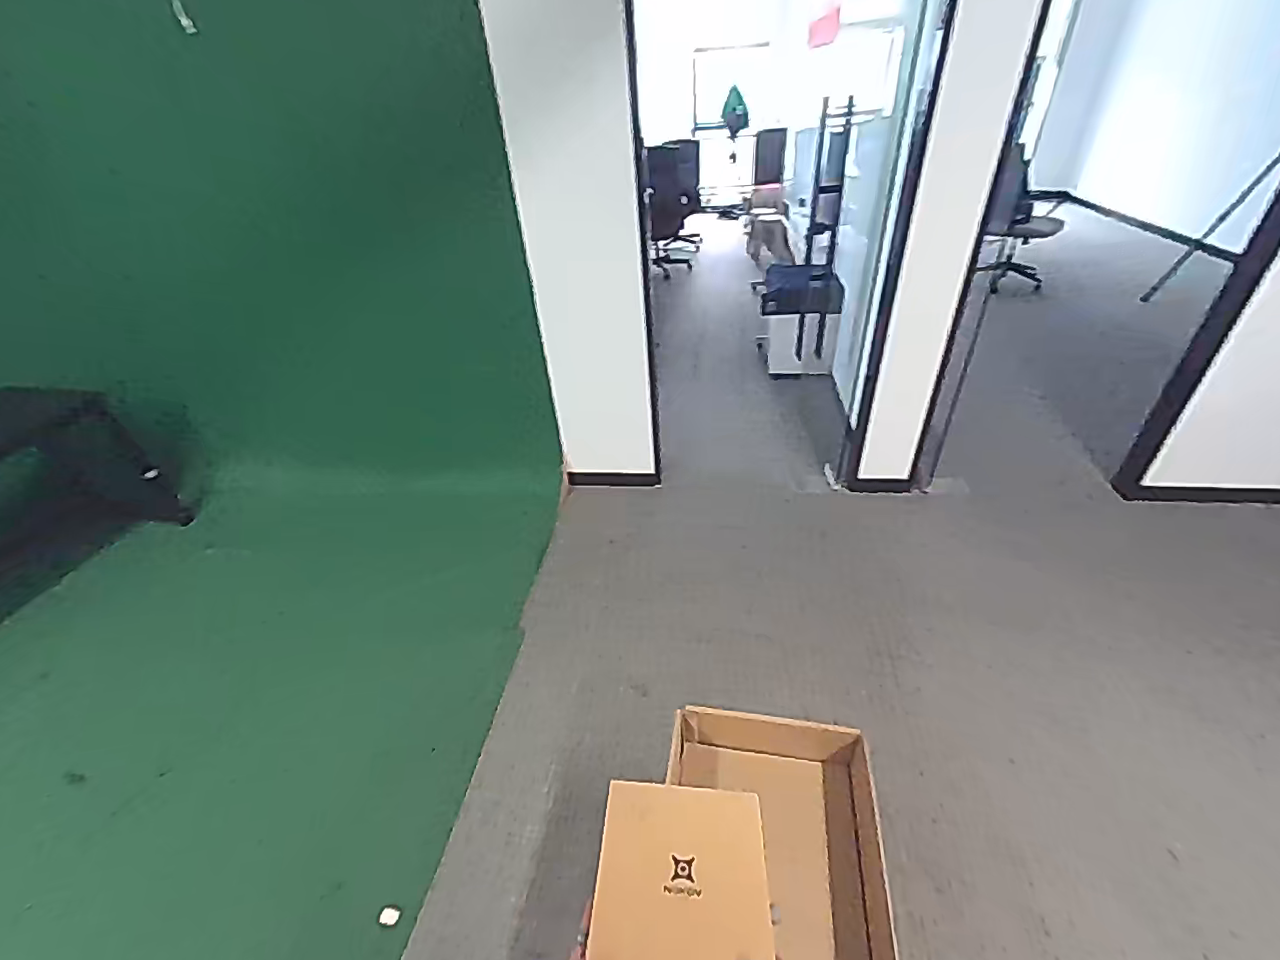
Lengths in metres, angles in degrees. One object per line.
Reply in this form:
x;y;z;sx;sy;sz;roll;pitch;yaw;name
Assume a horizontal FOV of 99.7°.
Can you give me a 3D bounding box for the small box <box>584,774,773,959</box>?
0.036;0.445;0.563;0.168;0.176;0.179;4;31;3;small box
